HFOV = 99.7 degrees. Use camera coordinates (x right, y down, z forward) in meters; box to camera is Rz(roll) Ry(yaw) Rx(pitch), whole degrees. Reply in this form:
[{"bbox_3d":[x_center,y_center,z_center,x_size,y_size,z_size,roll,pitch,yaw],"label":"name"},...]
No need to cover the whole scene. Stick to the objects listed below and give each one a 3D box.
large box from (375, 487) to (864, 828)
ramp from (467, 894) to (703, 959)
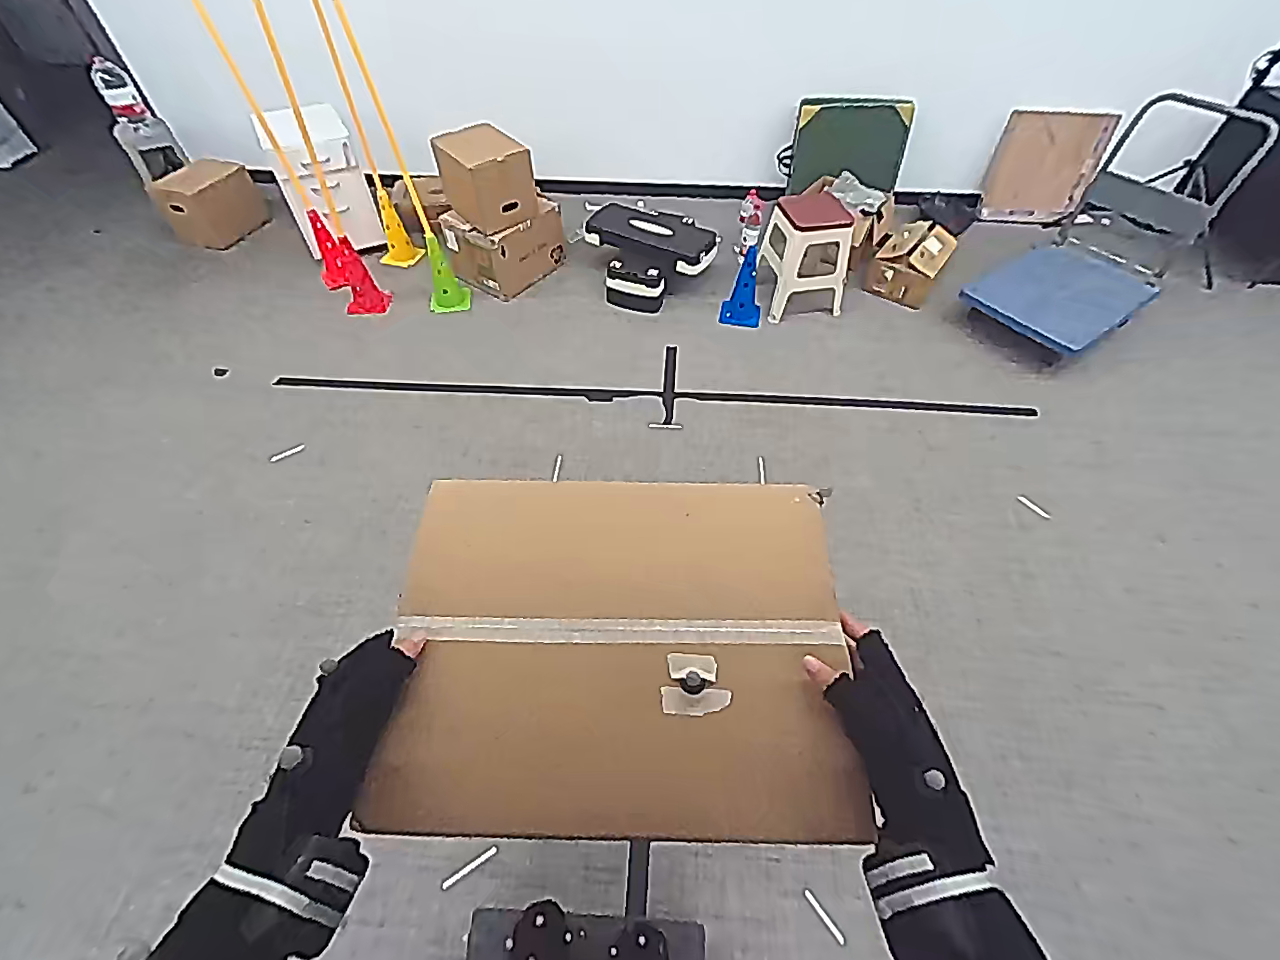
[{"bbox_3d":[-0.017,0.218,0.635,0.408,0.320,0.320,1,60,1],"label":"large box"},{"bbox_3d":[-0.136,1.342,0.925,0.509,0.206,0.991,3,52,0],"label":"ramp"}]
